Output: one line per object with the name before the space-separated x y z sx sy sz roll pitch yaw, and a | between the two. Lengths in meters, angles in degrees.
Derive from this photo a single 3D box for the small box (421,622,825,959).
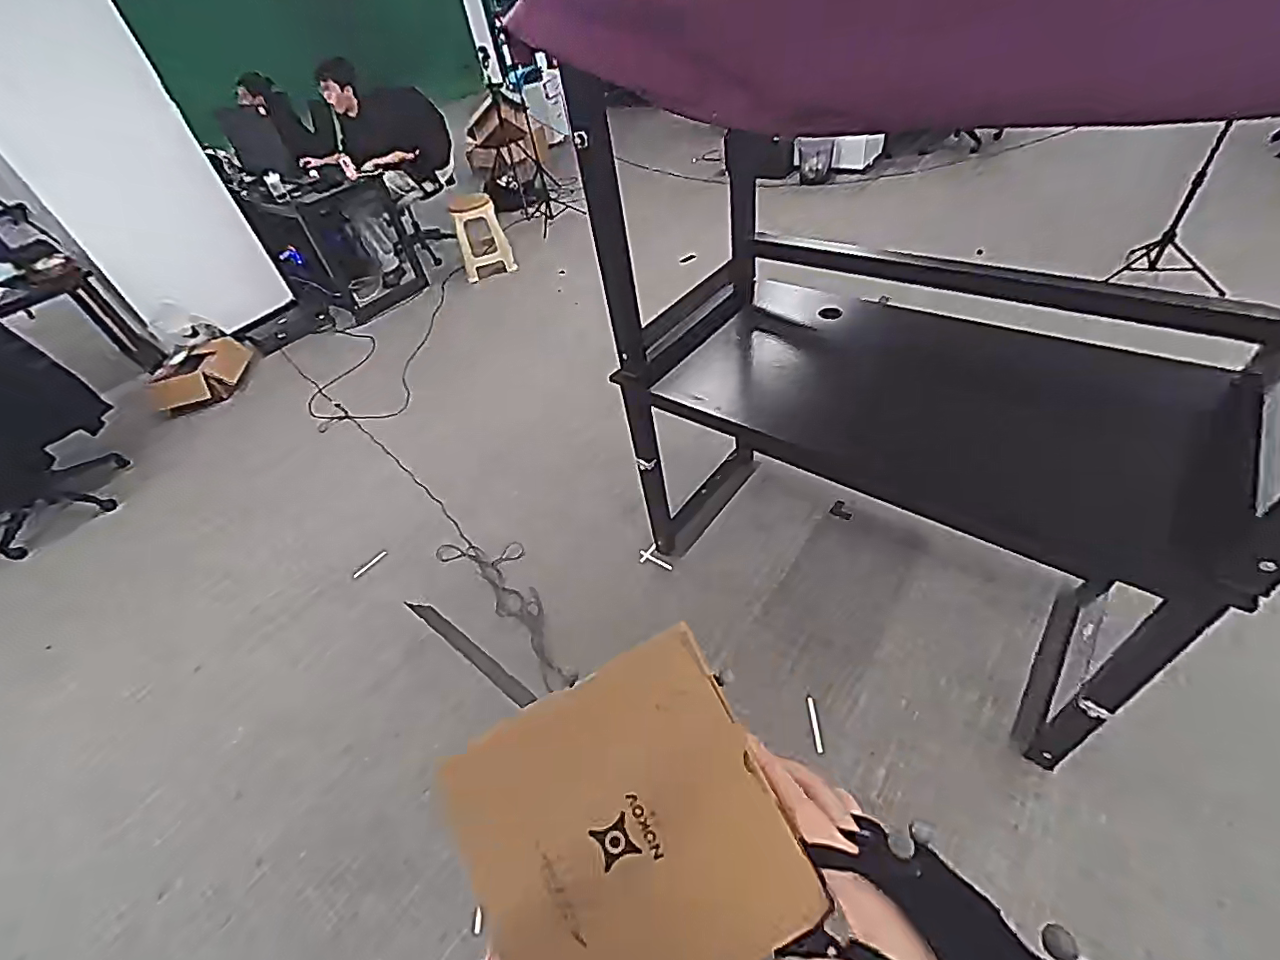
small box | -0.009 0.208 0.374 0.179 0.176 0.168 -28 76 -2
